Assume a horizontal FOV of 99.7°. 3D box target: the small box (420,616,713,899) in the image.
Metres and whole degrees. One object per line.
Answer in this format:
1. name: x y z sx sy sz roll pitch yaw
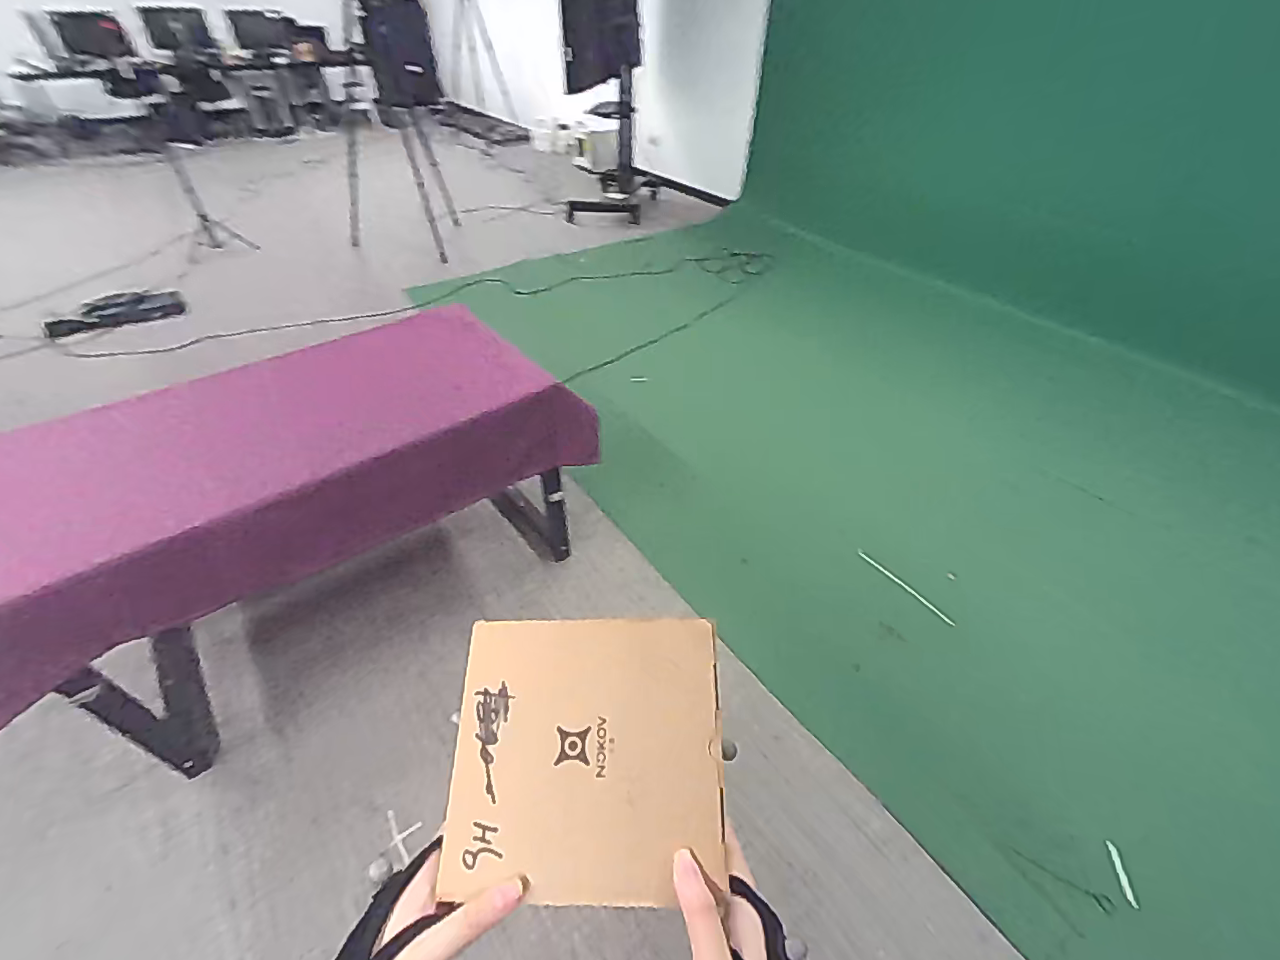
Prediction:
1. small box: -0.040 0.207 0.424 0.179 0.176 0.168 -1 62 3
